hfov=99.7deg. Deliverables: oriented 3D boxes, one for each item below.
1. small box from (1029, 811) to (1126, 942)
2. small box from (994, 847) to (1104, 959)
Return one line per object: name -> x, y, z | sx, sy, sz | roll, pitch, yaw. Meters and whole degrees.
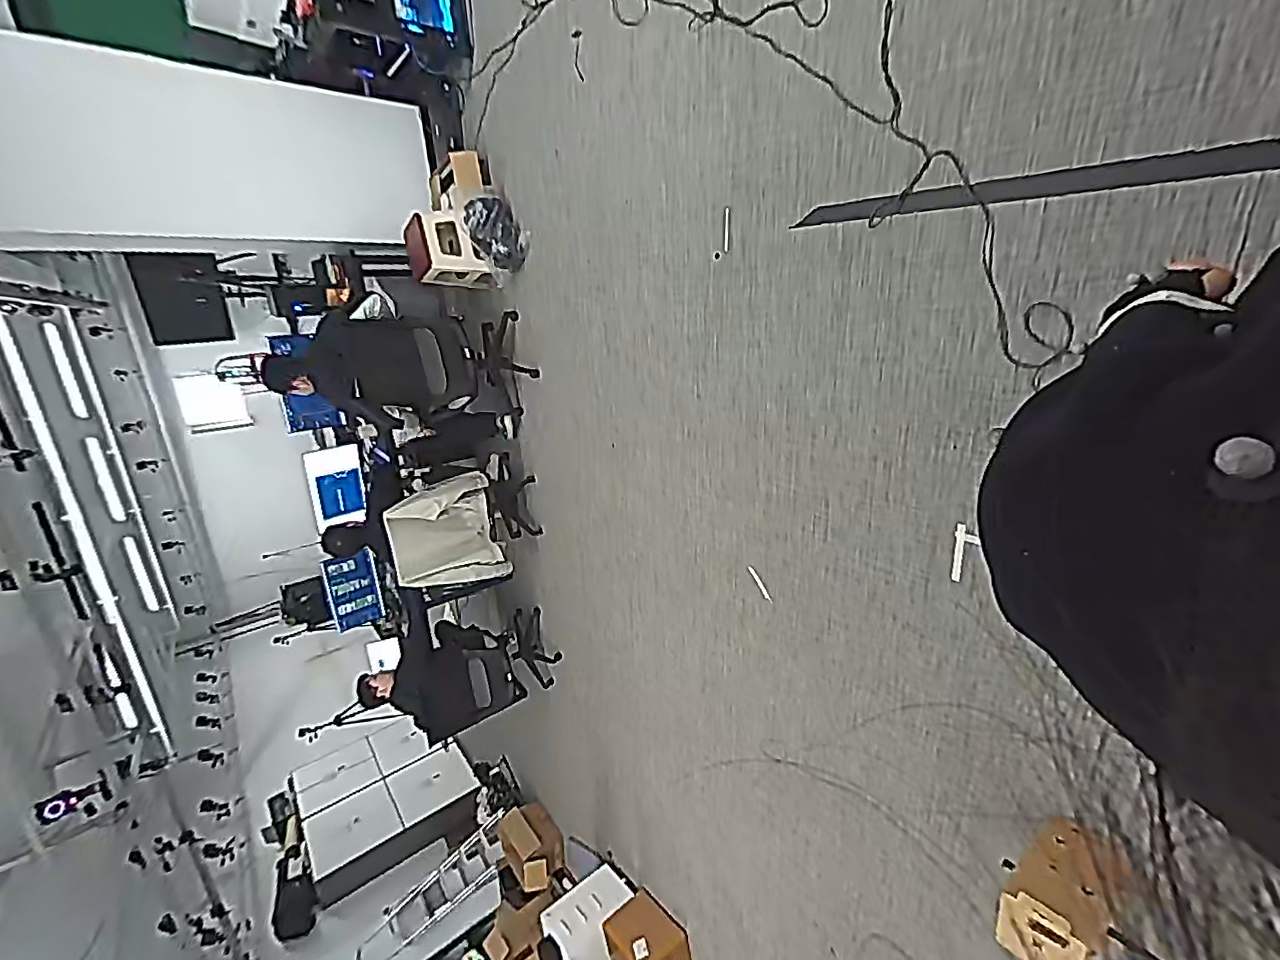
small box -> 1.121, 1.010, 1.396 | 0.168, 0.176, 0.179 | 15, 116, 51
small box -> 0.989, 1.047, 1.305 | 0.168, 0.176, 0.179 | 16, 117, 50
